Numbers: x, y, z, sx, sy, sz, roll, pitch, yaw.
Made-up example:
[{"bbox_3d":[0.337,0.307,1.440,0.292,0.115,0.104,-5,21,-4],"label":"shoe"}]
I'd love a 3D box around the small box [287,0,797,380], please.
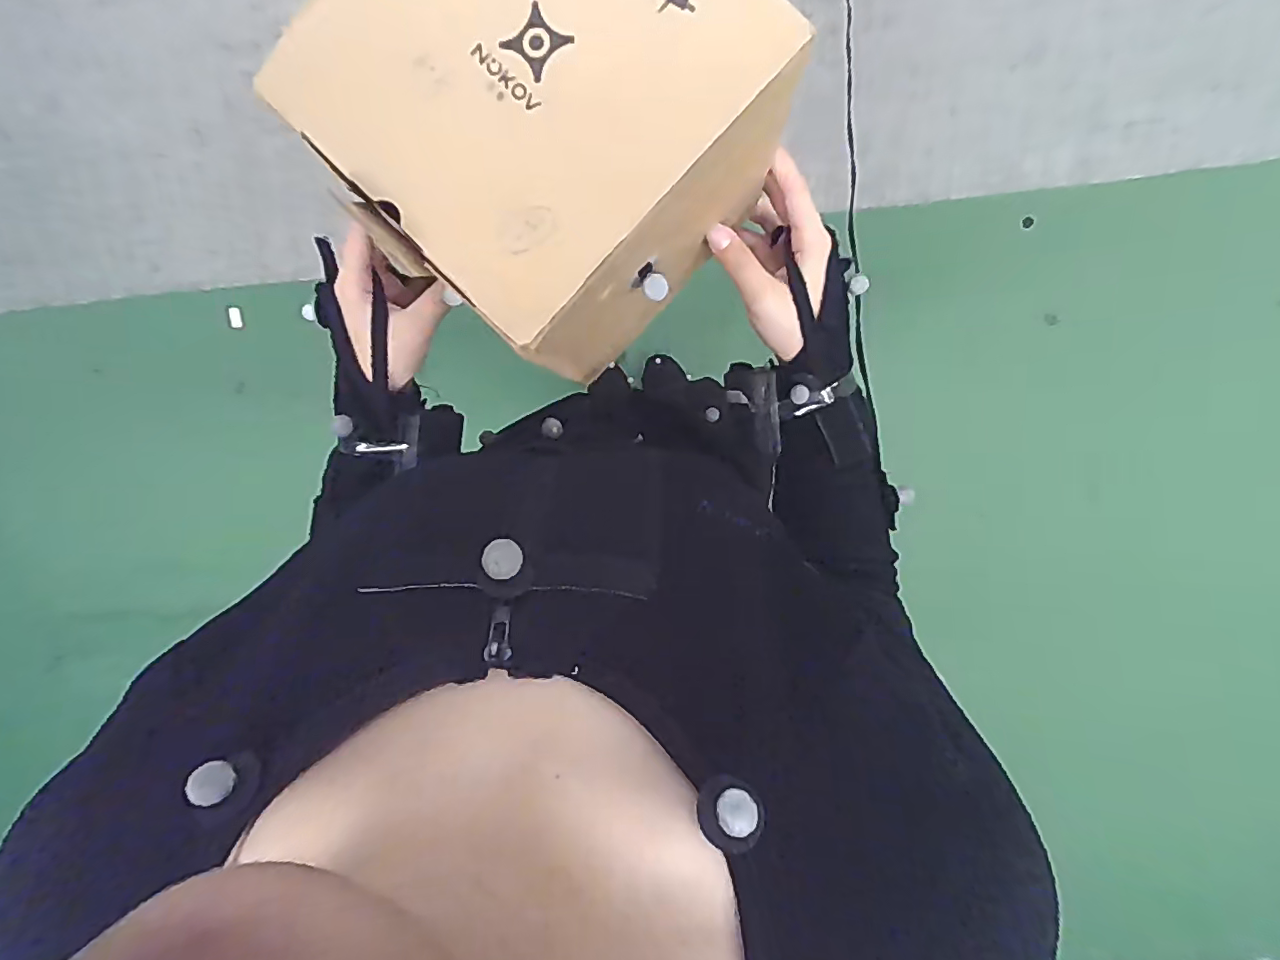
[{"bbox_3d":[-0.040,-0.177,0.316,0.168,0.176,0.179,44,96,0],"label":"small box"}]
